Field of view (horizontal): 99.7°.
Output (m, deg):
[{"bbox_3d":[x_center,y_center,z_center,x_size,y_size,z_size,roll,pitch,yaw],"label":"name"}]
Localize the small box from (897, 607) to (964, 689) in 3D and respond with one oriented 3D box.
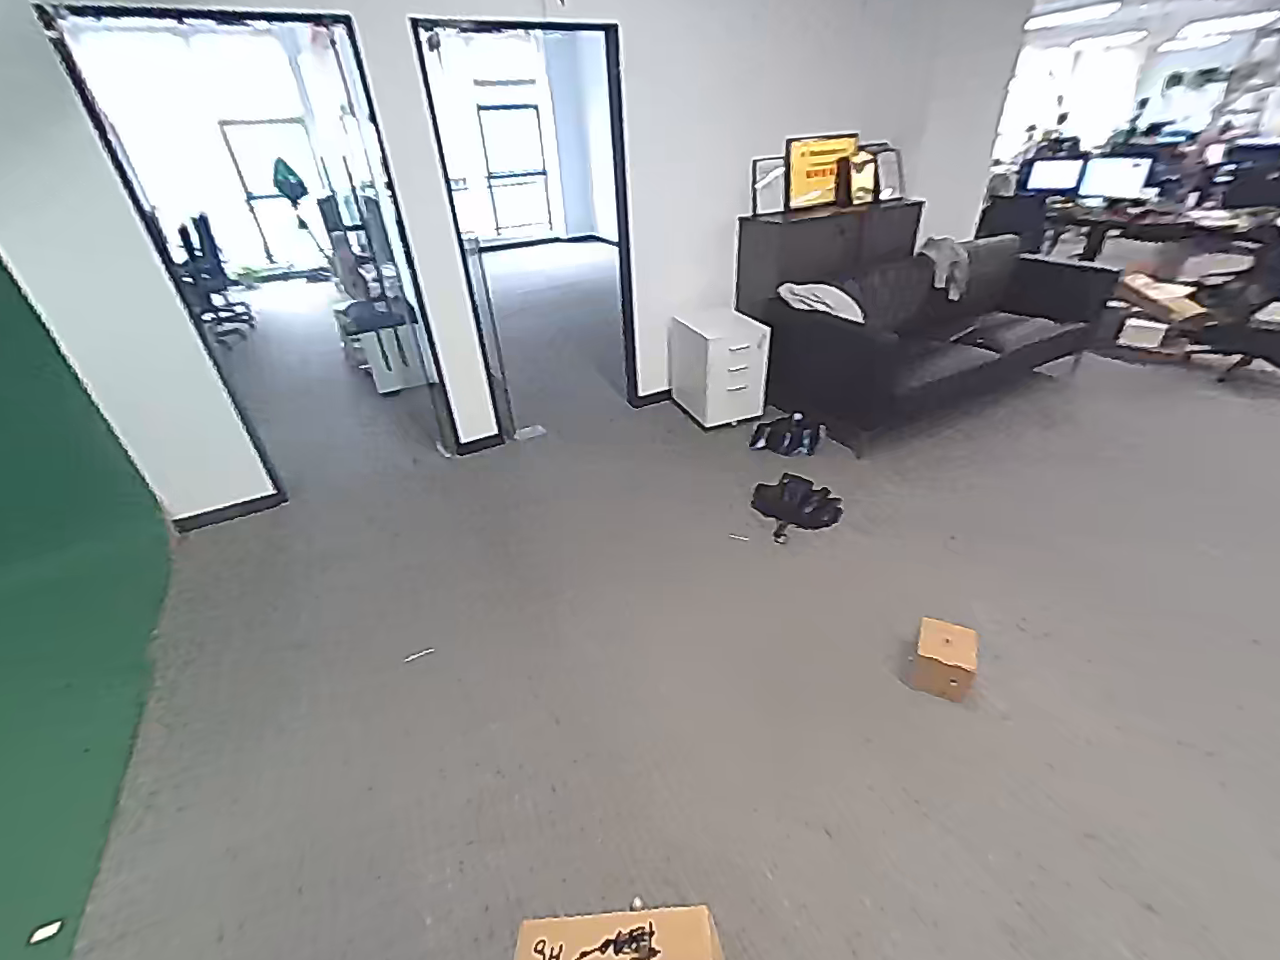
[{"bbox_3d":[0.974,0.567,1.815,0.168,0.176,0.179,14,35,21],"label":"small box"}]
